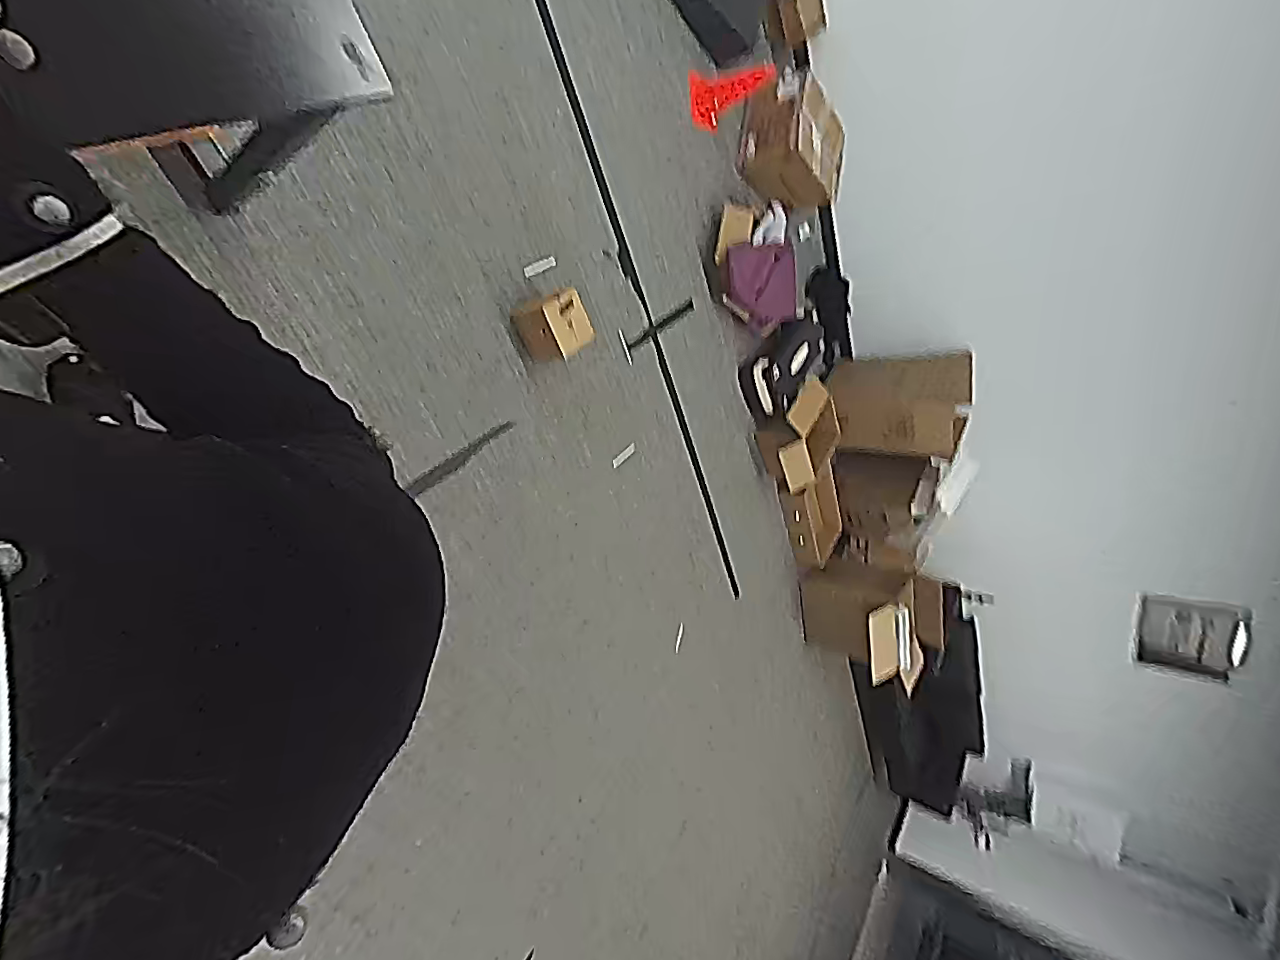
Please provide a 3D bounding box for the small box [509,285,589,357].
[{"bbox_3d":[-0.307,-0.529,1.815,0.168,0.176,0.179,-48,128,-35],"label":"small box"}]
